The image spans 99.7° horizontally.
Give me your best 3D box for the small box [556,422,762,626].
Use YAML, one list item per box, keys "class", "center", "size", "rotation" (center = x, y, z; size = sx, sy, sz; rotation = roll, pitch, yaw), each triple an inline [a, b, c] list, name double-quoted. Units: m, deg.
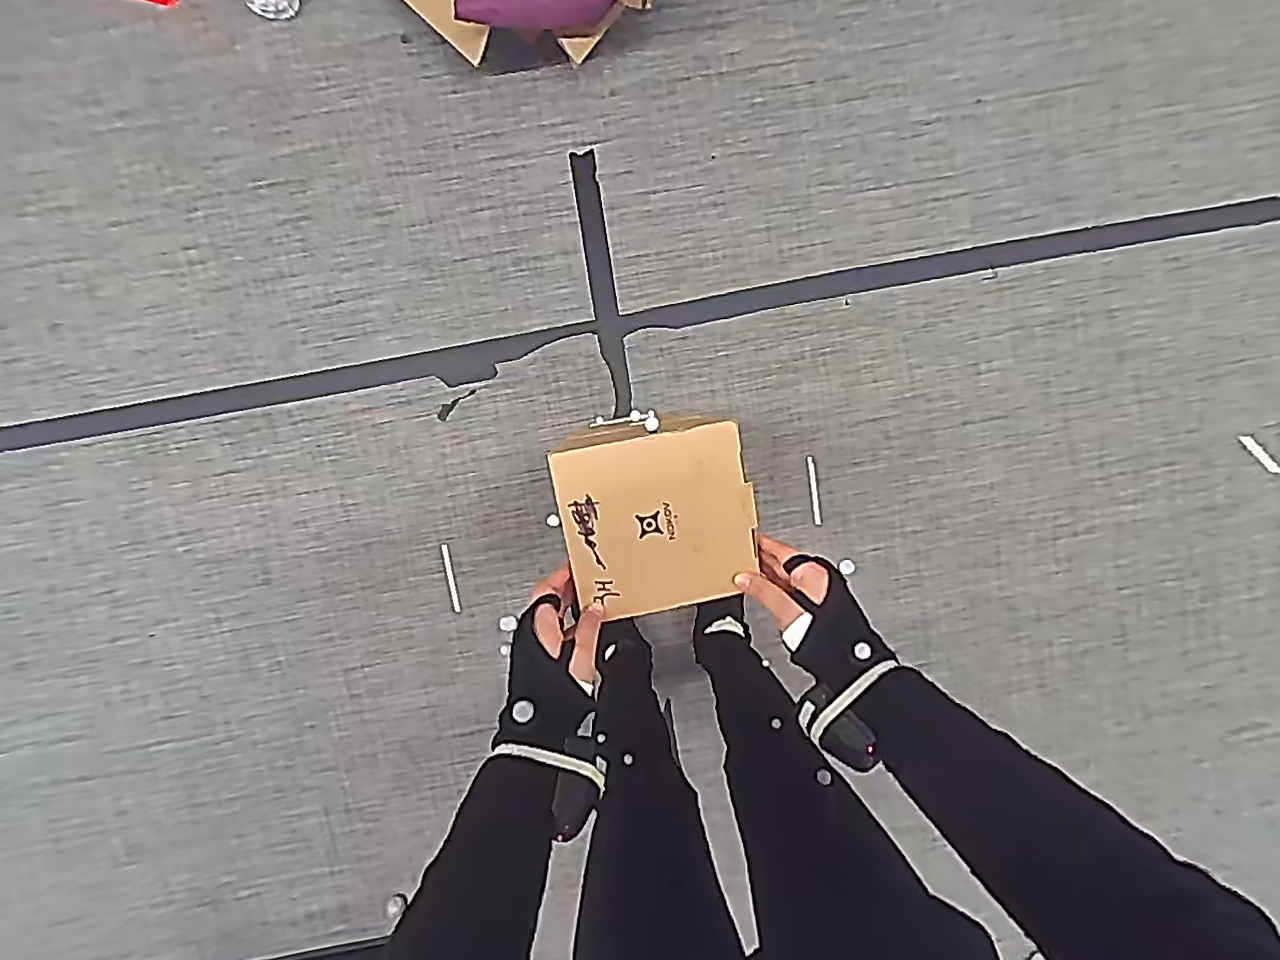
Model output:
- class: "small box"
  center: [0.012, 0.032, 0.578]
  size: [0.179, 0.176, 0.168]
  rotation: [-10, 98, -4]
